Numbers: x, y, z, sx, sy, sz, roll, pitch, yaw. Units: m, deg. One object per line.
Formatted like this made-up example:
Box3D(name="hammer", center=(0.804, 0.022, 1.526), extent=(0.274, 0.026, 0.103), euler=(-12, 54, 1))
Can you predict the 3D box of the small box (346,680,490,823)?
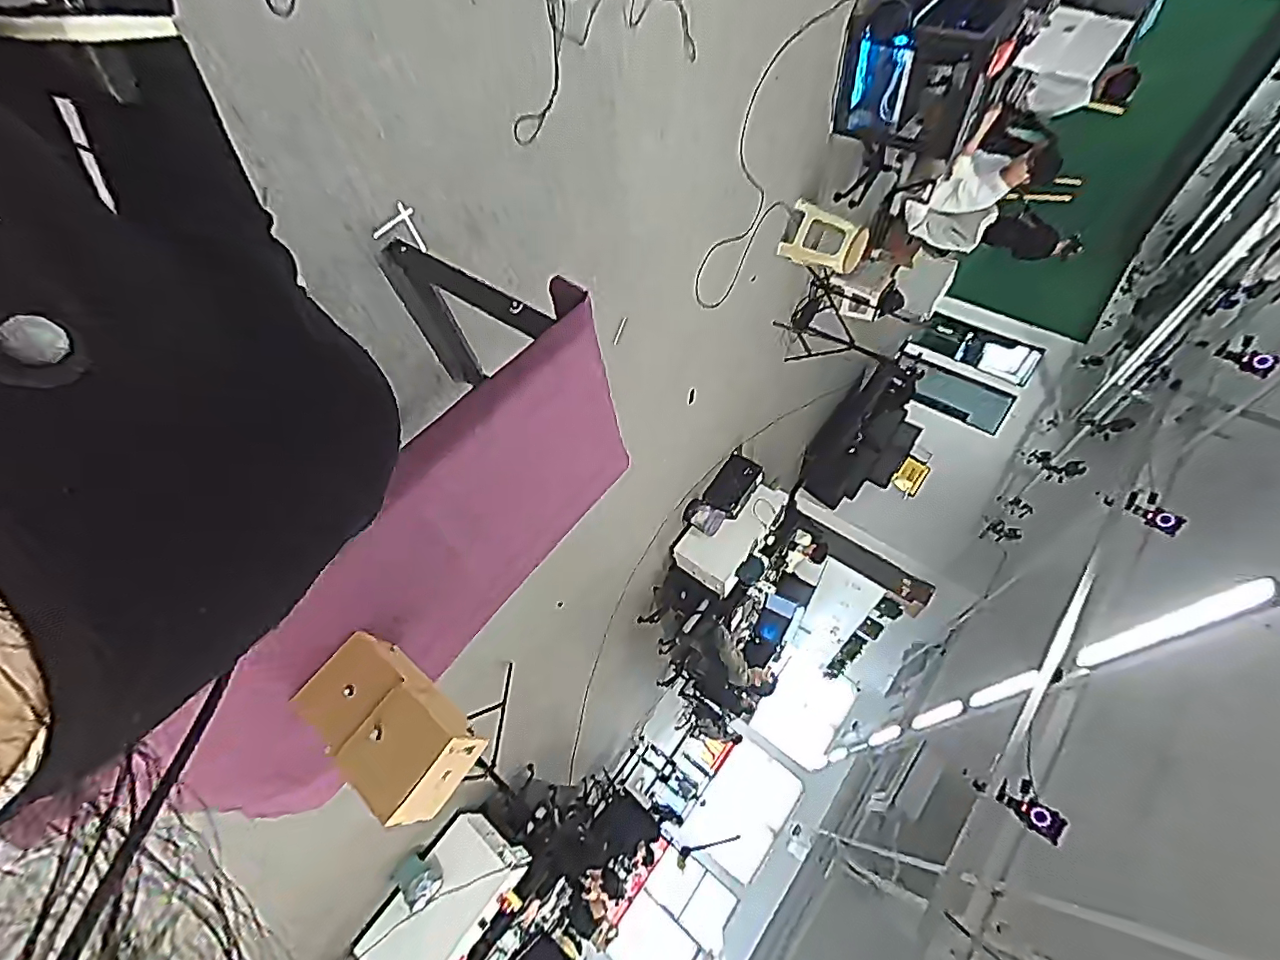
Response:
Box3D(name="small box", center=(-0.435, 0.523, 1.053), extent=(0.179, 0.176, 0.168), euler=(-51, 156, -16))
